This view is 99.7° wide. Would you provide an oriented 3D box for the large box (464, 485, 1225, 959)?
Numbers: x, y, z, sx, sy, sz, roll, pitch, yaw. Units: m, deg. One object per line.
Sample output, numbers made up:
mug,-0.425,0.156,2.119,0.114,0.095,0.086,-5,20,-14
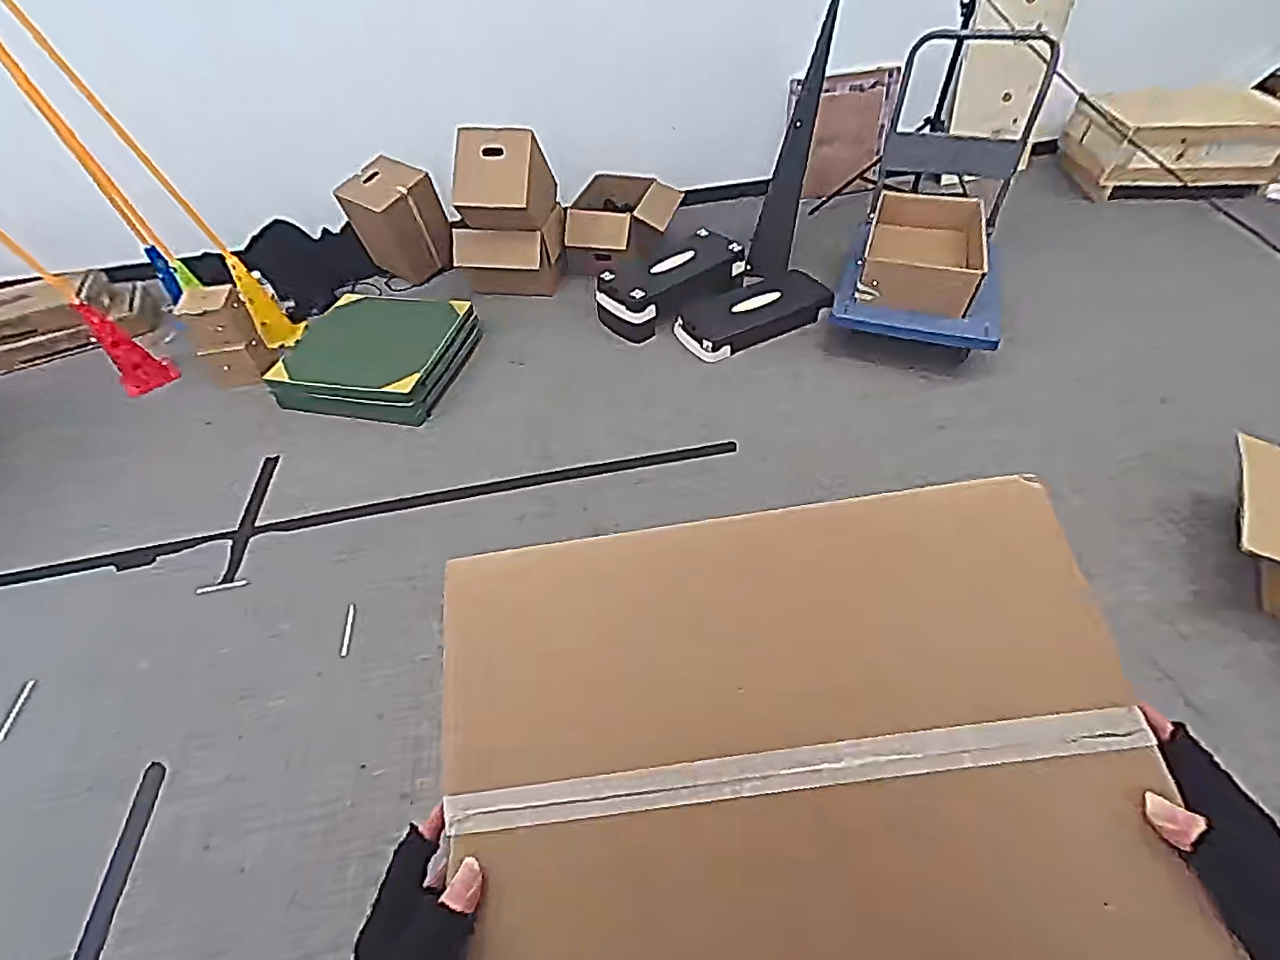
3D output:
large box,0.102,0.229,0.462,0.408,0.320,0.320,-9,69,3
